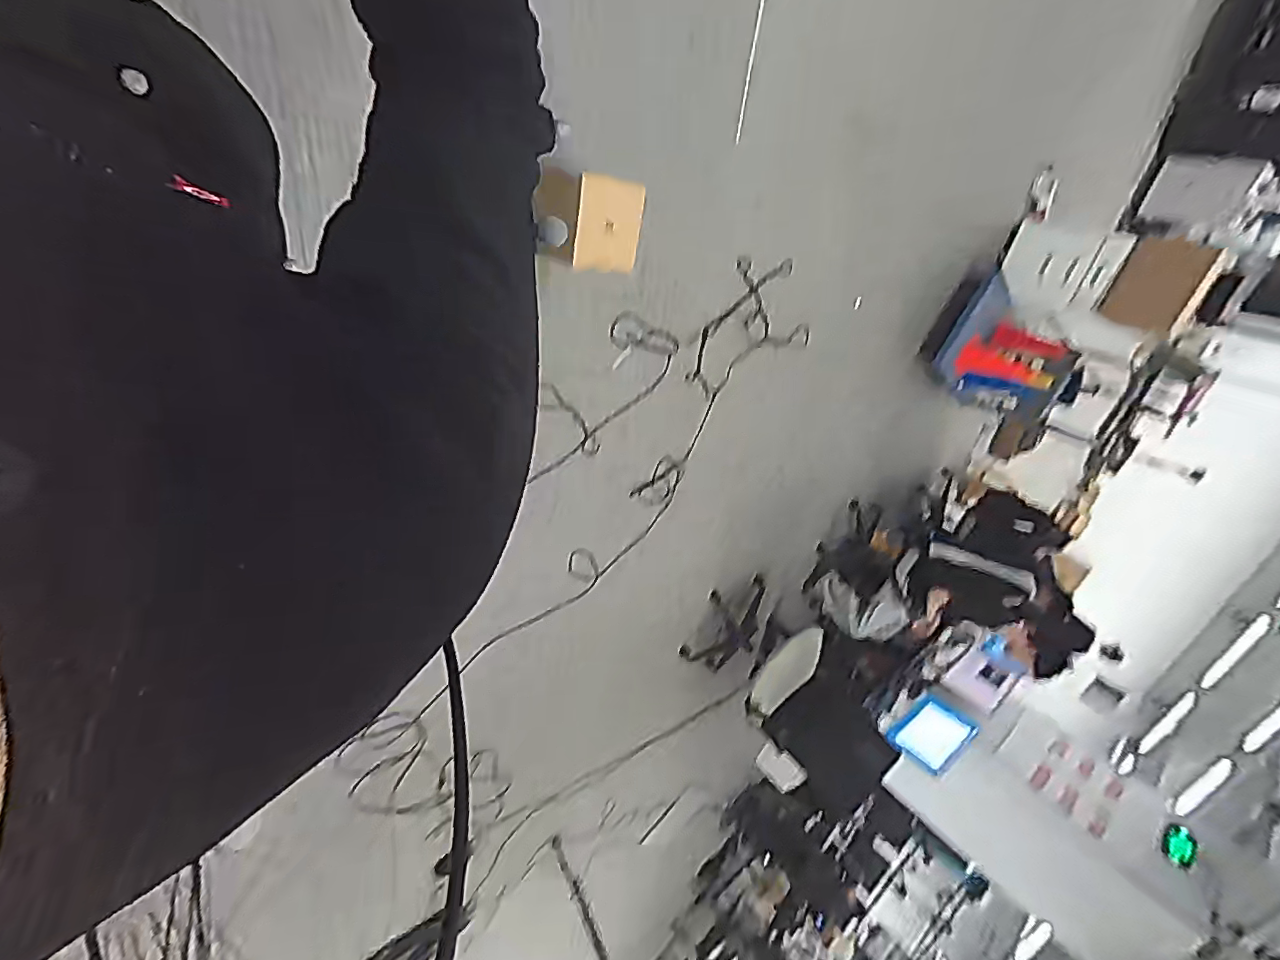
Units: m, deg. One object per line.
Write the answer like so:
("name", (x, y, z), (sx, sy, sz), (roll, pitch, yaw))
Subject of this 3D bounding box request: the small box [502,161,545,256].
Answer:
("small box", (-0.216, -0.639, 1.290), (0.168, 0.176, 0.179), (-11, 126, -39))

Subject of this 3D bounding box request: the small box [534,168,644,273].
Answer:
("small box", (-0.118, -0.566, 1.181), (0.168, 0.176, 0.179), (-14, 125, -39))
